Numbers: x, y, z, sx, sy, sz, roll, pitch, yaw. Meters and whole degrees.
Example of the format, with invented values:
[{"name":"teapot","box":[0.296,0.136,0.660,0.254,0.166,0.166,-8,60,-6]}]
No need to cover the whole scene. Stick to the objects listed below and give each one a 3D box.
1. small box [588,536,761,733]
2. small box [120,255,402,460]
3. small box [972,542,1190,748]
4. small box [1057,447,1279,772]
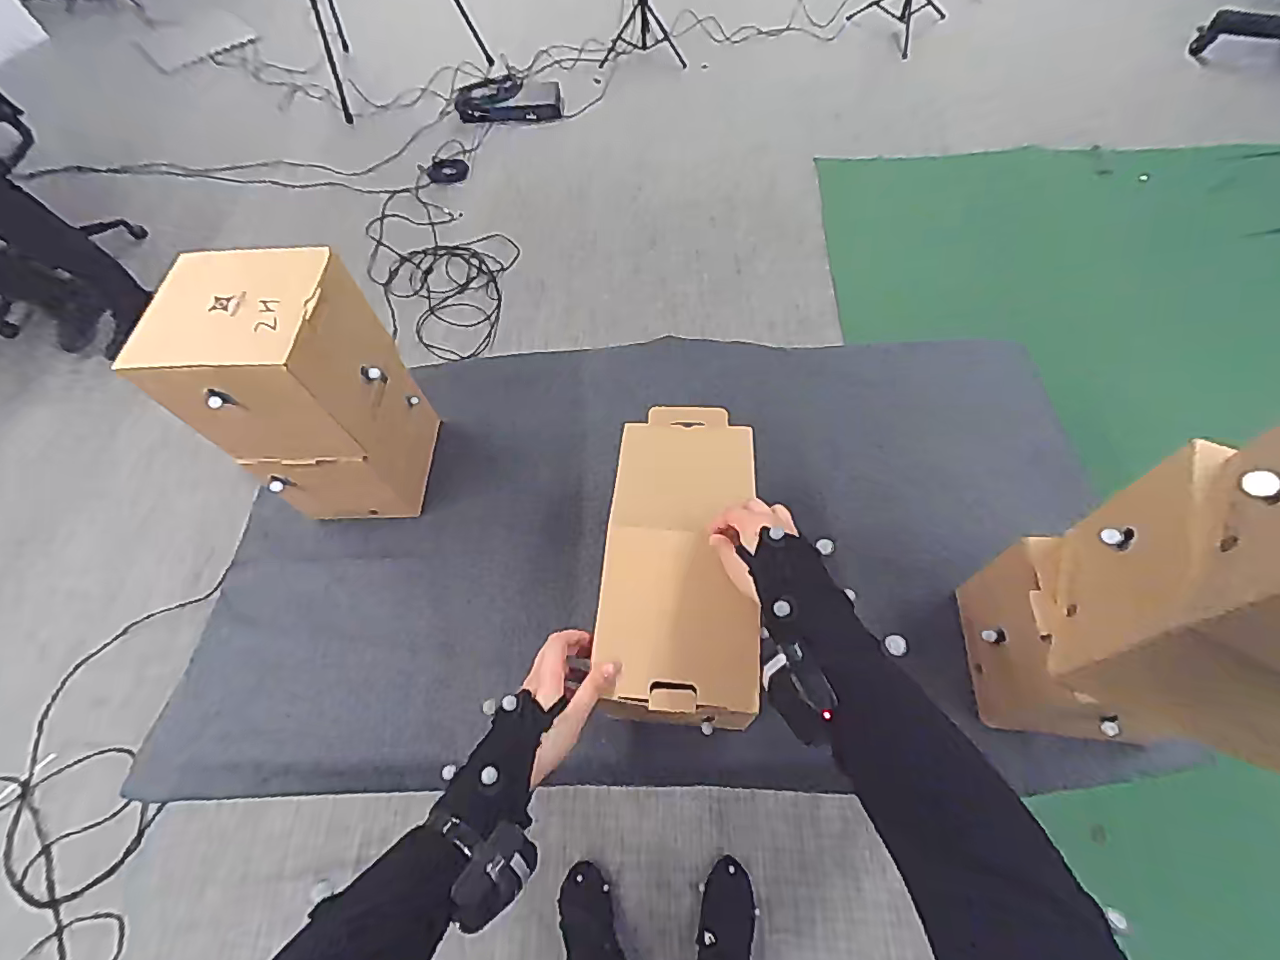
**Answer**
[{"name":"small box","box":[0.046,0.179,0.609,0.168,0.176,0.179,2,60,6]},{"name":"small box","box":[-0.408,-0.132,0.621,0.179,0.176,0.168,-1,62,3]},{"name":"small box","box":[0.482,0.179,0.574,0.179,0.176,0.168,3,59,7]},{"name":"small box","box":[0.475,0.108,0.426,0.179,0.176,0.168,23,62,16]}]
